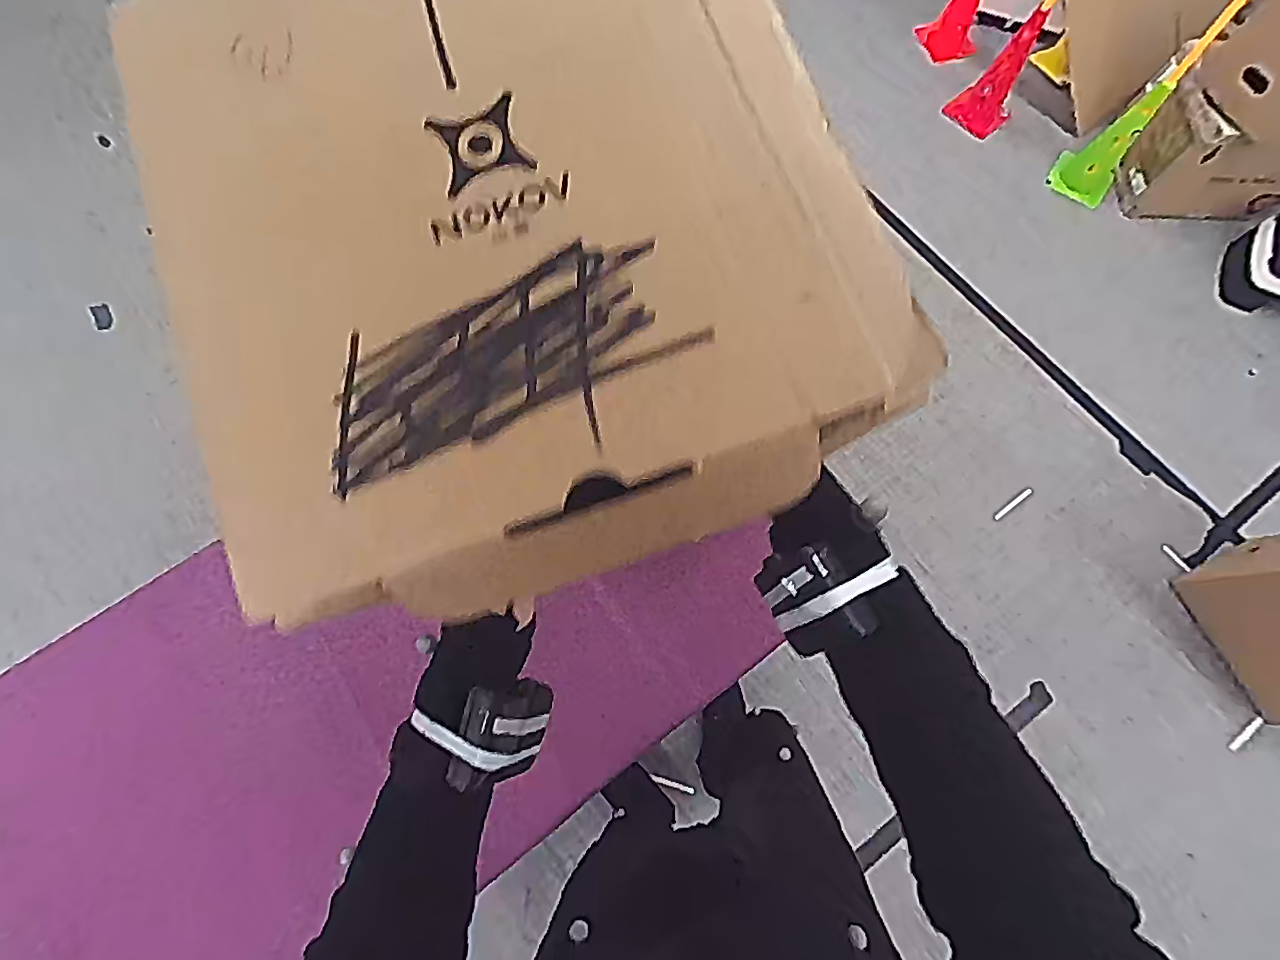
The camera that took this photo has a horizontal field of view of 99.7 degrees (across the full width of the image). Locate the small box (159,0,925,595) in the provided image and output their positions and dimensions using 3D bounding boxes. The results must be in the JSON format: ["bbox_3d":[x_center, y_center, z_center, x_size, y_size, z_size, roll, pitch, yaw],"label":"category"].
[{"bbox_3d":[-0.029,-0.068,0.221,0.168,0.176,0.179,-19,81,0],"label":"small box"}]
